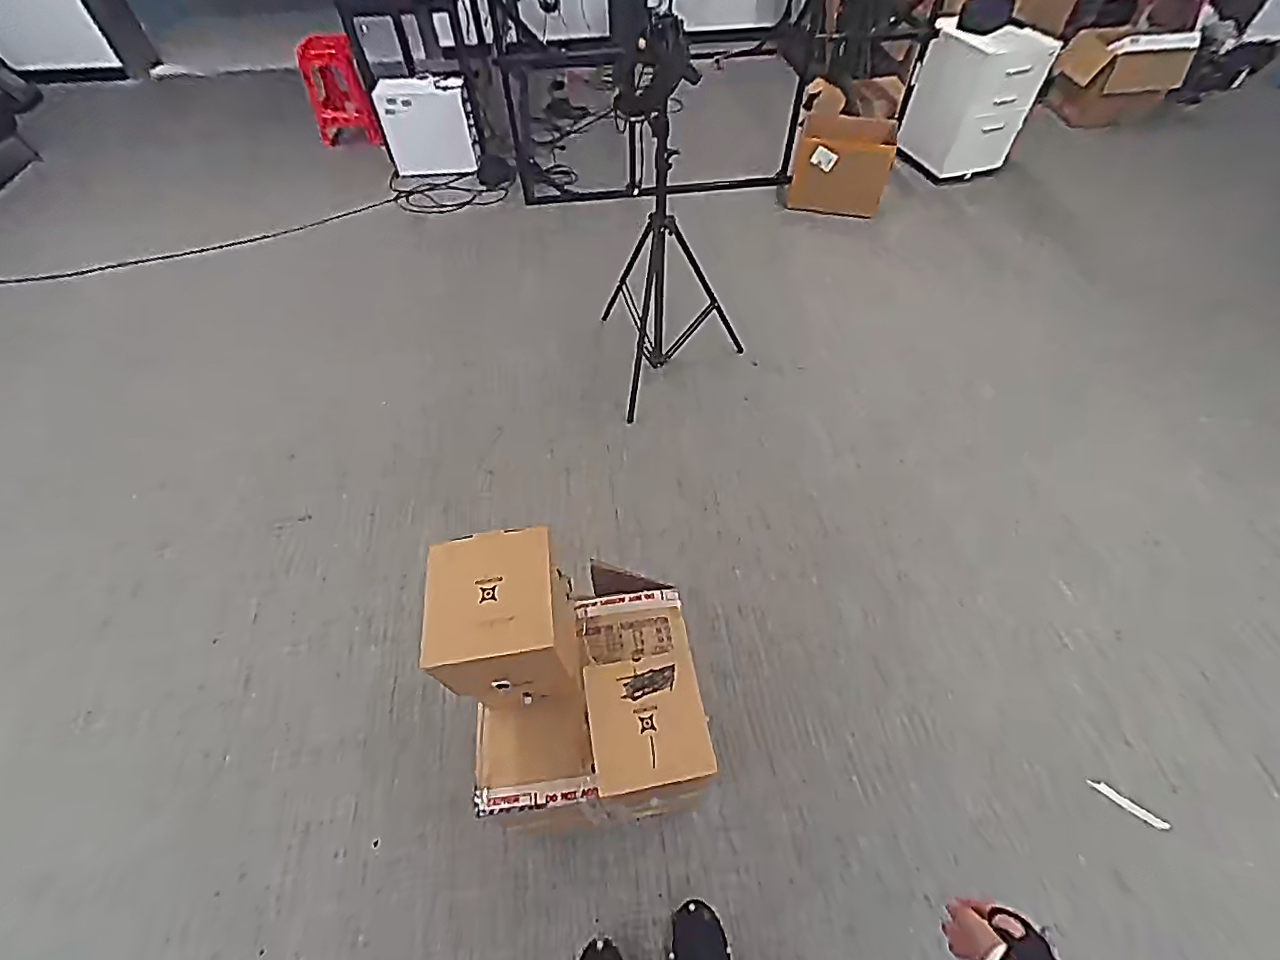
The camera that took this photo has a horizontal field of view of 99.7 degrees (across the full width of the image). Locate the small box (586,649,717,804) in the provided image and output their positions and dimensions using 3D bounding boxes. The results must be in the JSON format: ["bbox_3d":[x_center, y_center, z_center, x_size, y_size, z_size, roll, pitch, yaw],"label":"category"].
[{"bbox_3d":[0.011,0.382,0.833,0.168,0.176,0.179,-8,57,-5],"label":"small box"}]

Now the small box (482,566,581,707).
[{"bbox_3d":[-0.196,0.266,0.916,0.168,0.176,0.179,-8,56,-3],"label":"small box"}]

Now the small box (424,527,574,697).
[{"bbox_3d":[-0.191,0.191,0.770,0.168,0.176,0.179,-9,57,-3],"label":"small box"}]
